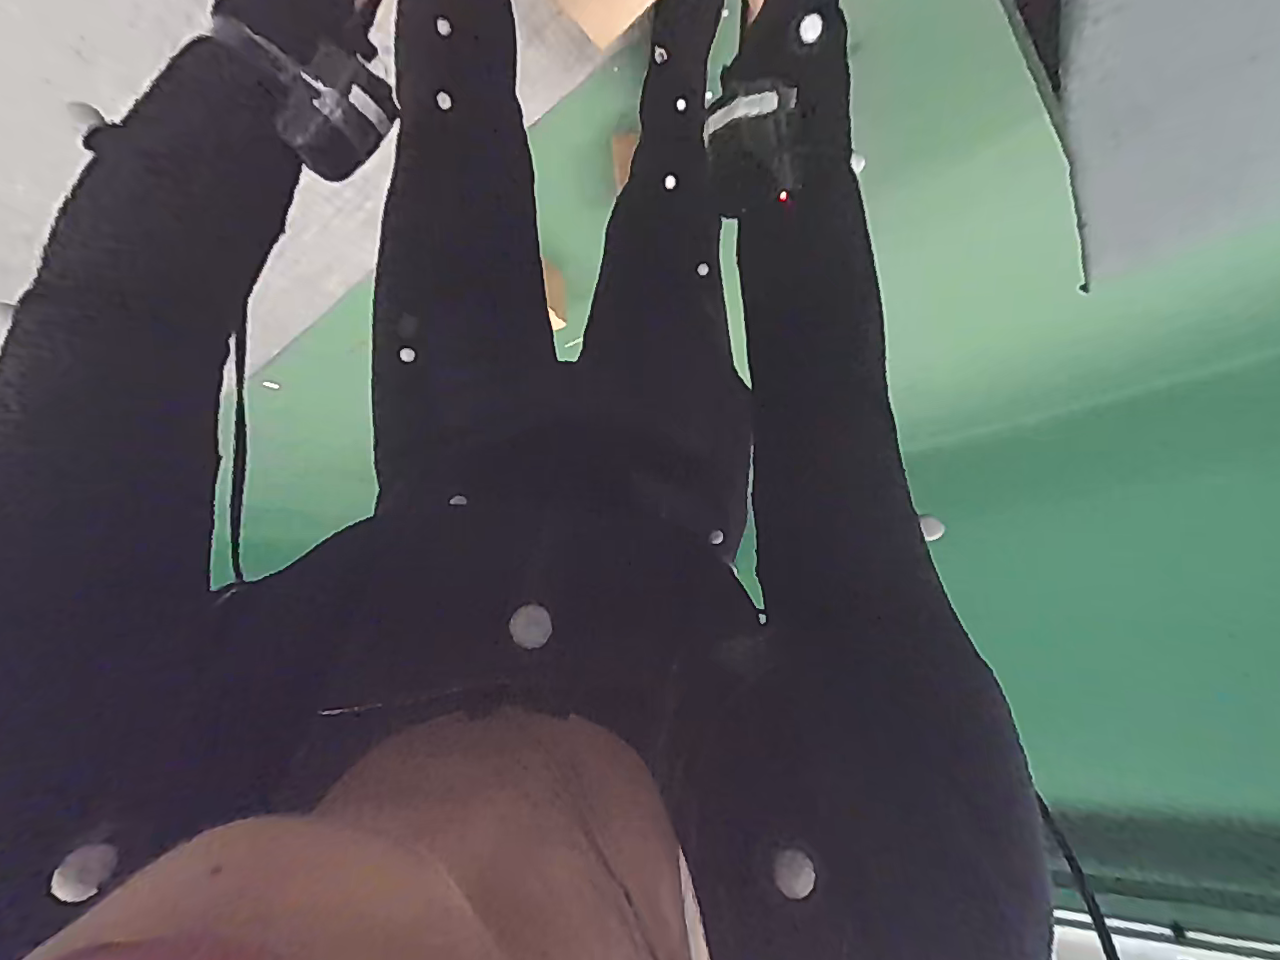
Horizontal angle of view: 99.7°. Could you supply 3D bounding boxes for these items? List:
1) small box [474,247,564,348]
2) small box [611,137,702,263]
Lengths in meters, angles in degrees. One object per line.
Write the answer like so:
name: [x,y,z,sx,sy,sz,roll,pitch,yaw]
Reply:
small box: [-0.321,-0.479,1.425,0.179,0.176,0.168,-13,162,25]
small box: [0.032,-0.601,1.157,0.168,0.176,0.179,-7,163,0]
